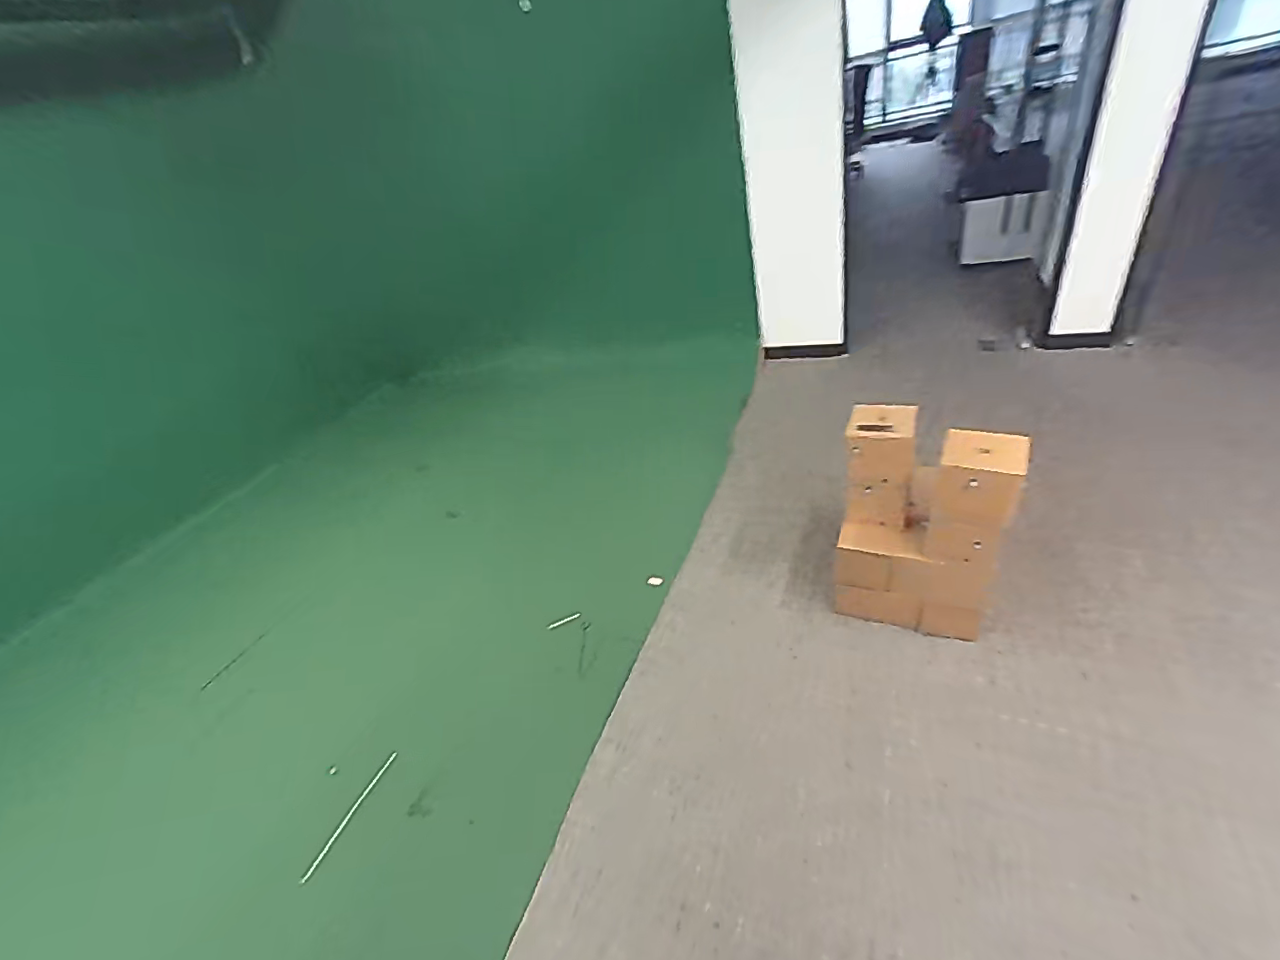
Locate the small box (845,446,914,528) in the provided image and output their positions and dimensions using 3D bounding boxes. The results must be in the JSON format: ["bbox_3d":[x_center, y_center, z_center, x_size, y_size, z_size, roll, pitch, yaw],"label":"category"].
[{"bbox_3d":[0.729,0.018,1.651,0.168,0.176,0.179,8,40,31],"label":"small box"}]

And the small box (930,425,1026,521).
[{"bbox_3d":[0.851,-0.017,1.369,0.179,0.176,0.168,10,42,31],"label":"small box"}]

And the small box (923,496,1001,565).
[{"bbox_3d":[0.879,0.105,1.473,0.168,0.176,0.179,11,42,30],"label":"small box"}]
